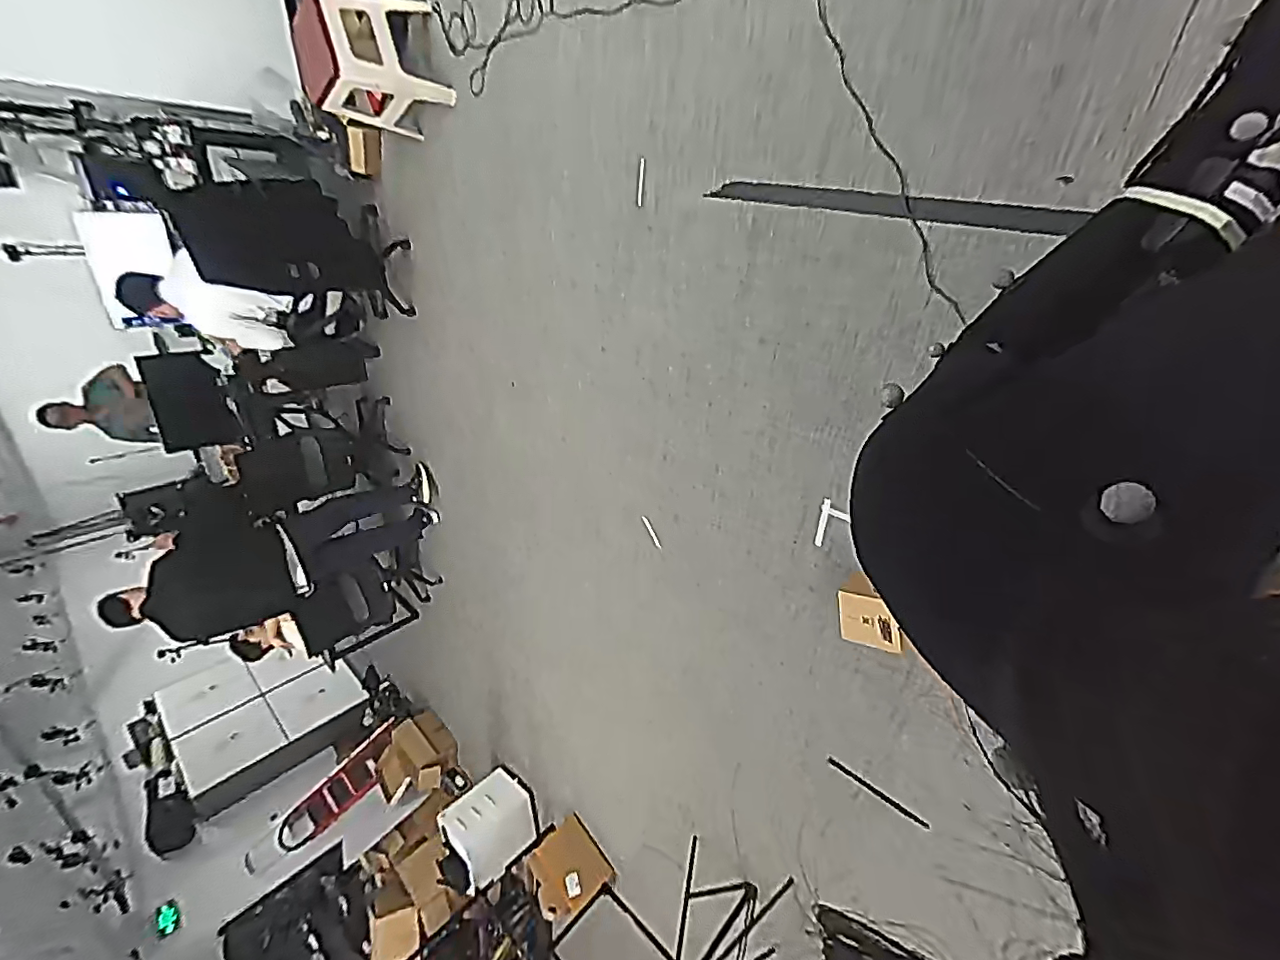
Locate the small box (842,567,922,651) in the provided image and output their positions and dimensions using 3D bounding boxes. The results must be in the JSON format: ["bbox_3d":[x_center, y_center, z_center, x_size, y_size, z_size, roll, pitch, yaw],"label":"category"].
[{"bbox_3d":[0.724,0.375,1.607,0.179,0.176,0.168,6,112,44],"label":"small box"}]
